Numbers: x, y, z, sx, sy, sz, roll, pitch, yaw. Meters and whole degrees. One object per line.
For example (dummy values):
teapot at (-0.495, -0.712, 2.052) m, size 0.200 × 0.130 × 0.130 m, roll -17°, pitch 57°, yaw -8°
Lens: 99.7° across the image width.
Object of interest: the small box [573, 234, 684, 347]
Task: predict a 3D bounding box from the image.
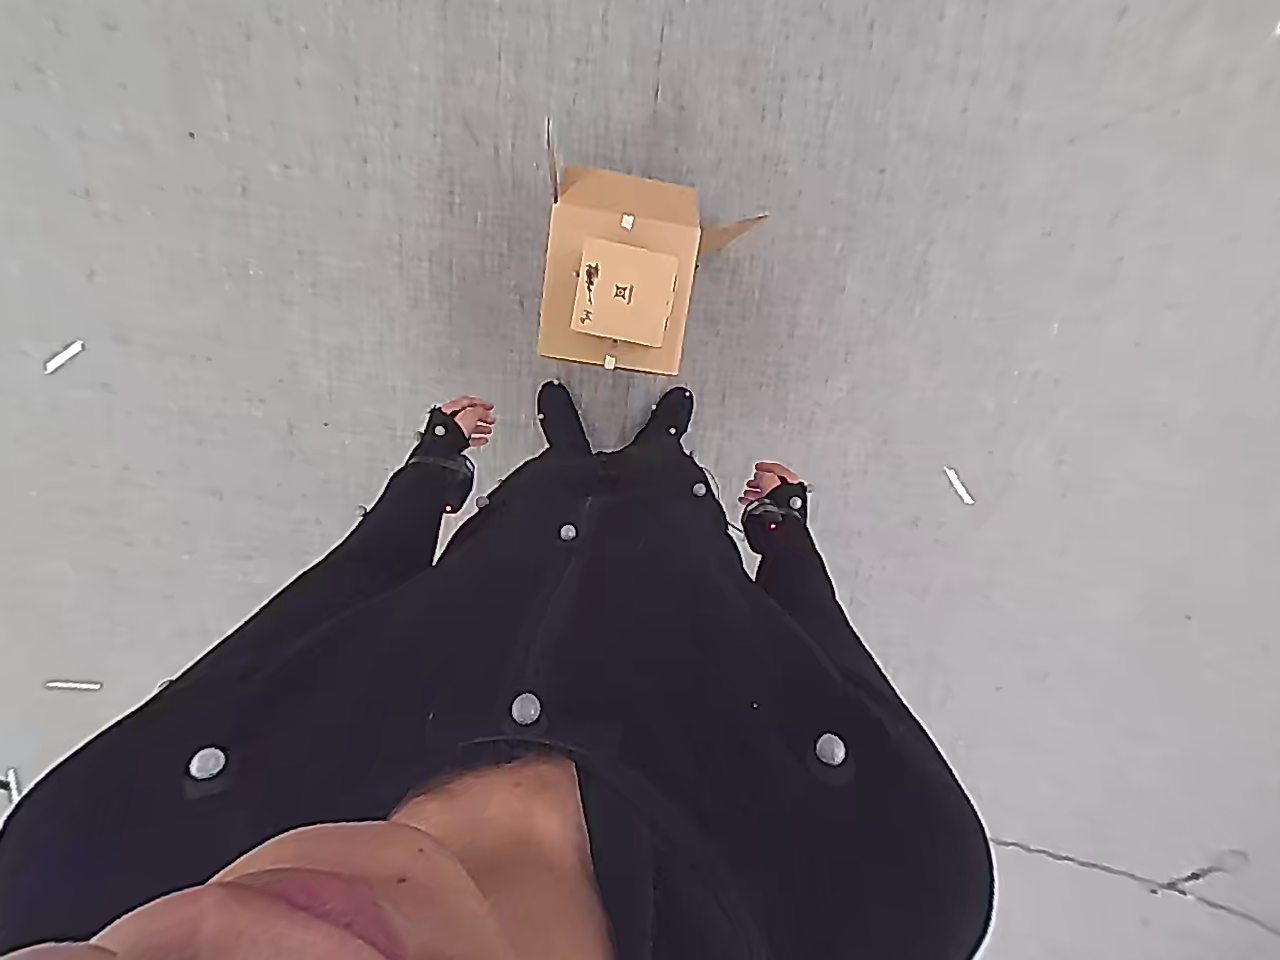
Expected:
small box at (-0.028, -0.363, 1.053) m, size 0.179 × 0.176 × 0.168 m, roll 10°, pitch 104°, yaw -7°
